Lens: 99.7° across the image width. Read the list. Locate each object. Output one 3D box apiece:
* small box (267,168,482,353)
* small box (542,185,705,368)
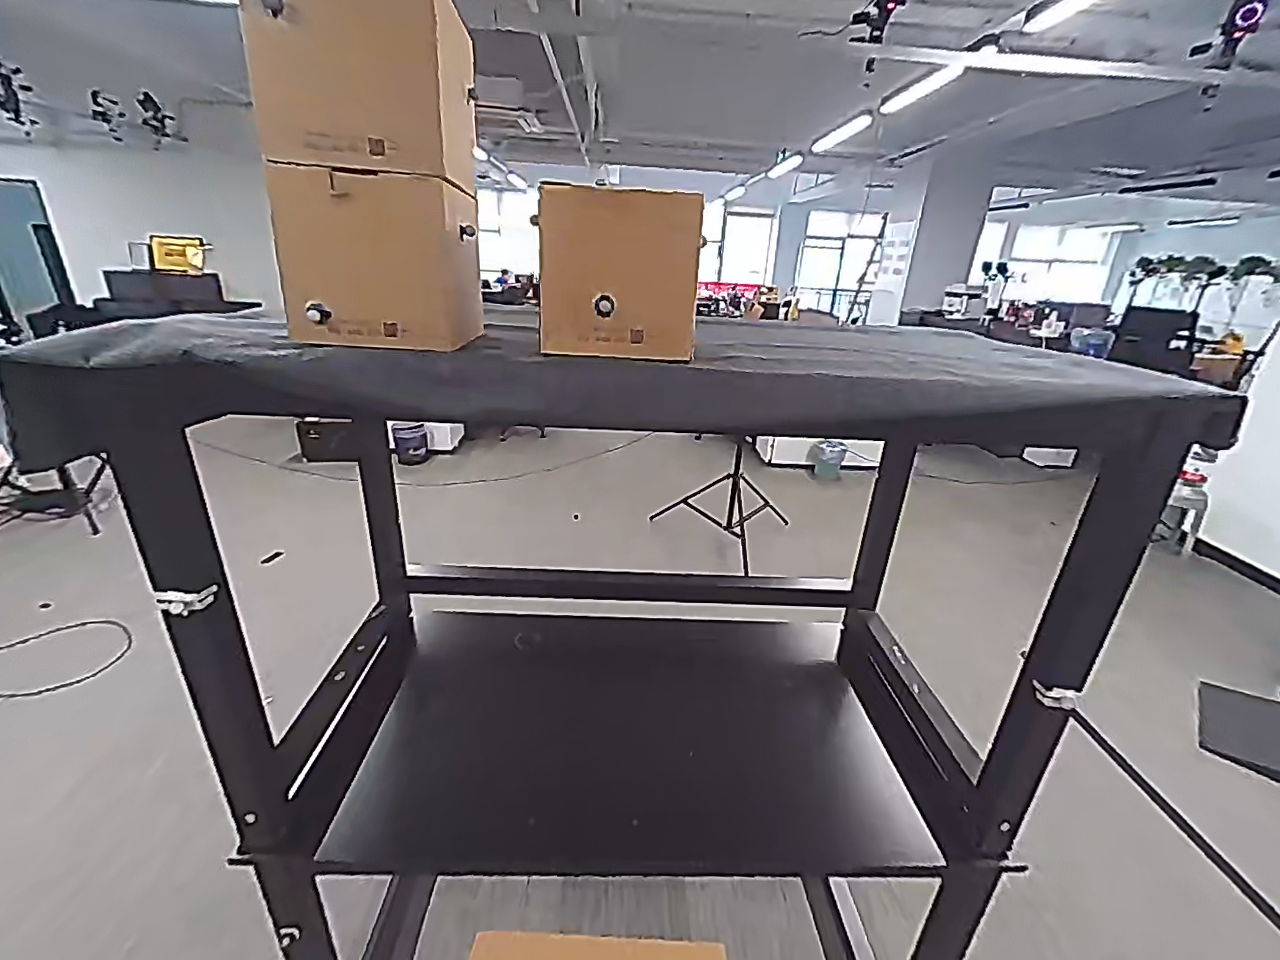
[{"bbox_3d":[-0.279,-0.241,0.617,0.168,0.176,0.179,2,20,-5],"label":"small box"},{"bbox_3d":[-0.023,-0.233,0.636,0.168,0.176,0.179,2,20,-3],"label":"small box"}]
